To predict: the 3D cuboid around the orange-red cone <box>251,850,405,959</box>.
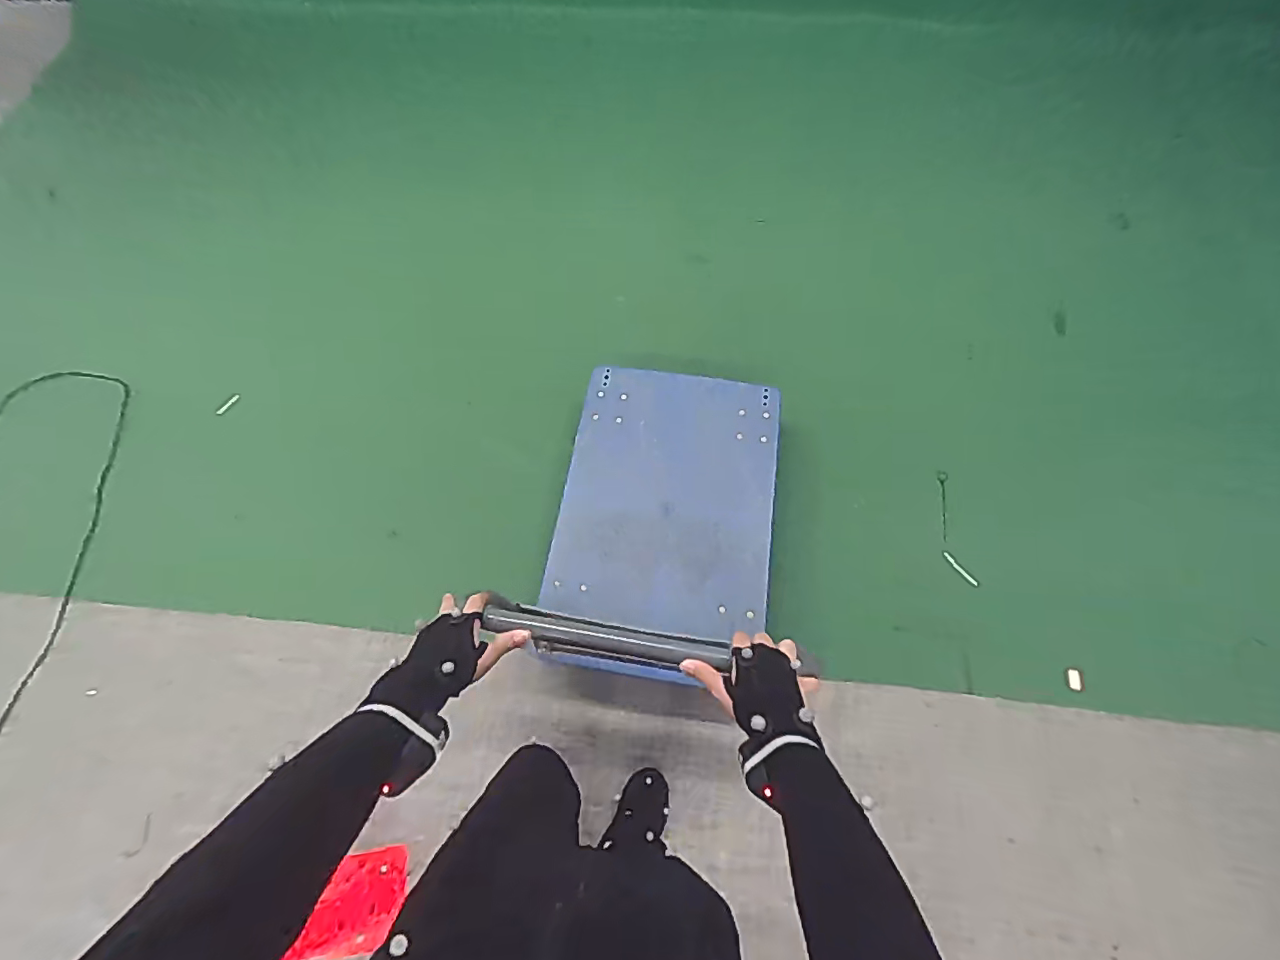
[{"bbox_3d":[-0.659,0.916,1.103,0.199,0.360,0.198,-9,65,-1],"label":"orange-red cone"}]
